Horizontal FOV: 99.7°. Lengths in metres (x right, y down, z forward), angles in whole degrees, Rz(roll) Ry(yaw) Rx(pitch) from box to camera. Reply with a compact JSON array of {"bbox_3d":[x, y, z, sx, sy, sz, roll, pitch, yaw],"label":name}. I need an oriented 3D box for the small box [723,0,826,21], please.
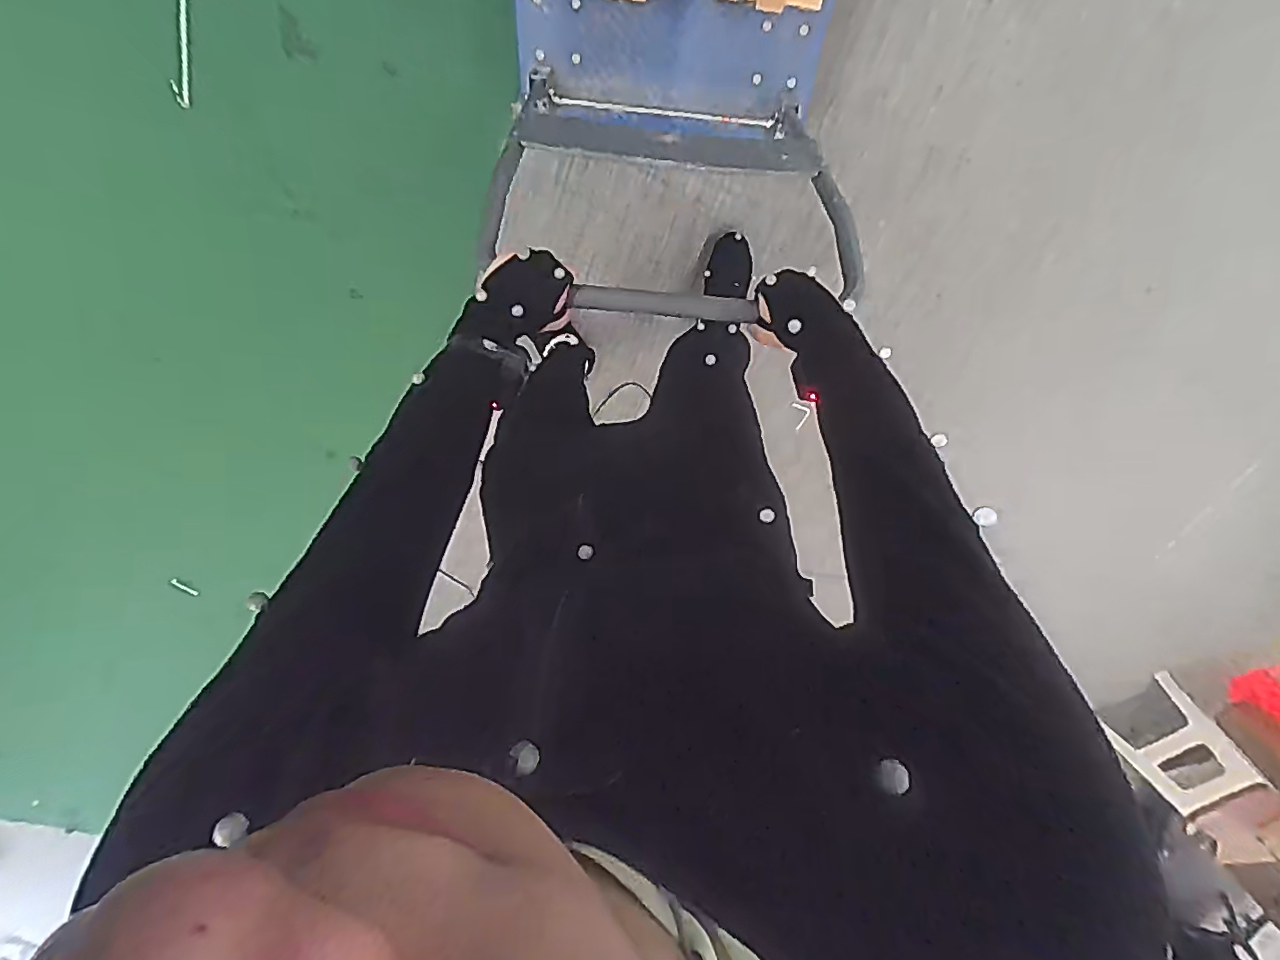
[{"bbox_3d":[0.217,-0.856,0.849,0.168,0.176,0.179,4,137,-4],"label":"small box"}]
